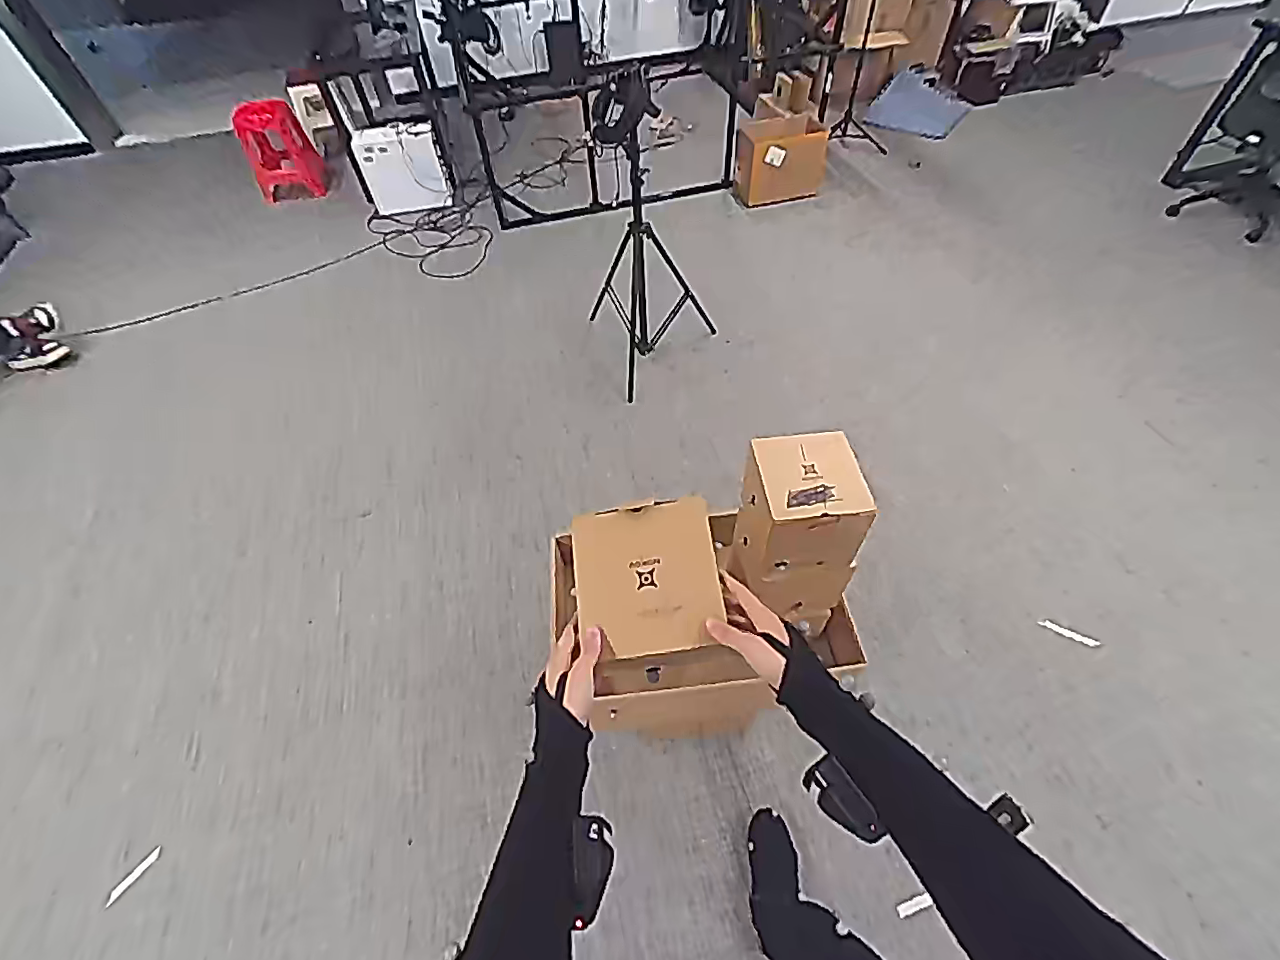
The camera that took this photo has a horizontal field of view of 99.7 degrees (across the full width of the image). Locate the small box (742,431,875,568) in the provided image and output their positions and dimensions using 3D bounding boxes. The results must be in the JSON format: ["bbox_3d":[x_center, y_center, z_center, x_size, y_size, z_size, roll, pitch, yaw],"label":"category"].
[{"bbox_3d":[0.279,0.040,0.936,0.168,0.176,0.179,-5,51,-1],"label":"small box"}]

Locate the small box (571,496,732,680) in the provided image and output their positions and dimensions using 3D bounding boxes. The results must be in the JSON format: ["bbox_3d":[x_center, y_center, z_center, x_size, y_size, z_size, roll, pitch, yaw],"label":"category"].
[{"bbox_3d":[0.016,0.142,0.678,0.168,0.176,0.179,-10,64,4],"label":"small box"}]

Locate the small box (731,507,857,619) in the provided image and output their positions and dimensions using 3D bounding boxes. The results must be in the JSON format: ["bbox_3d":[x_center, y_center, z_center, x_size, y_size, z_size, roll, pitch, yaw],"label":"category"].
[{"bbox_3d":[0.289,0.154,1.056,0.179,0.176,0.168,-8,52,-4],"label":"small box"}]
